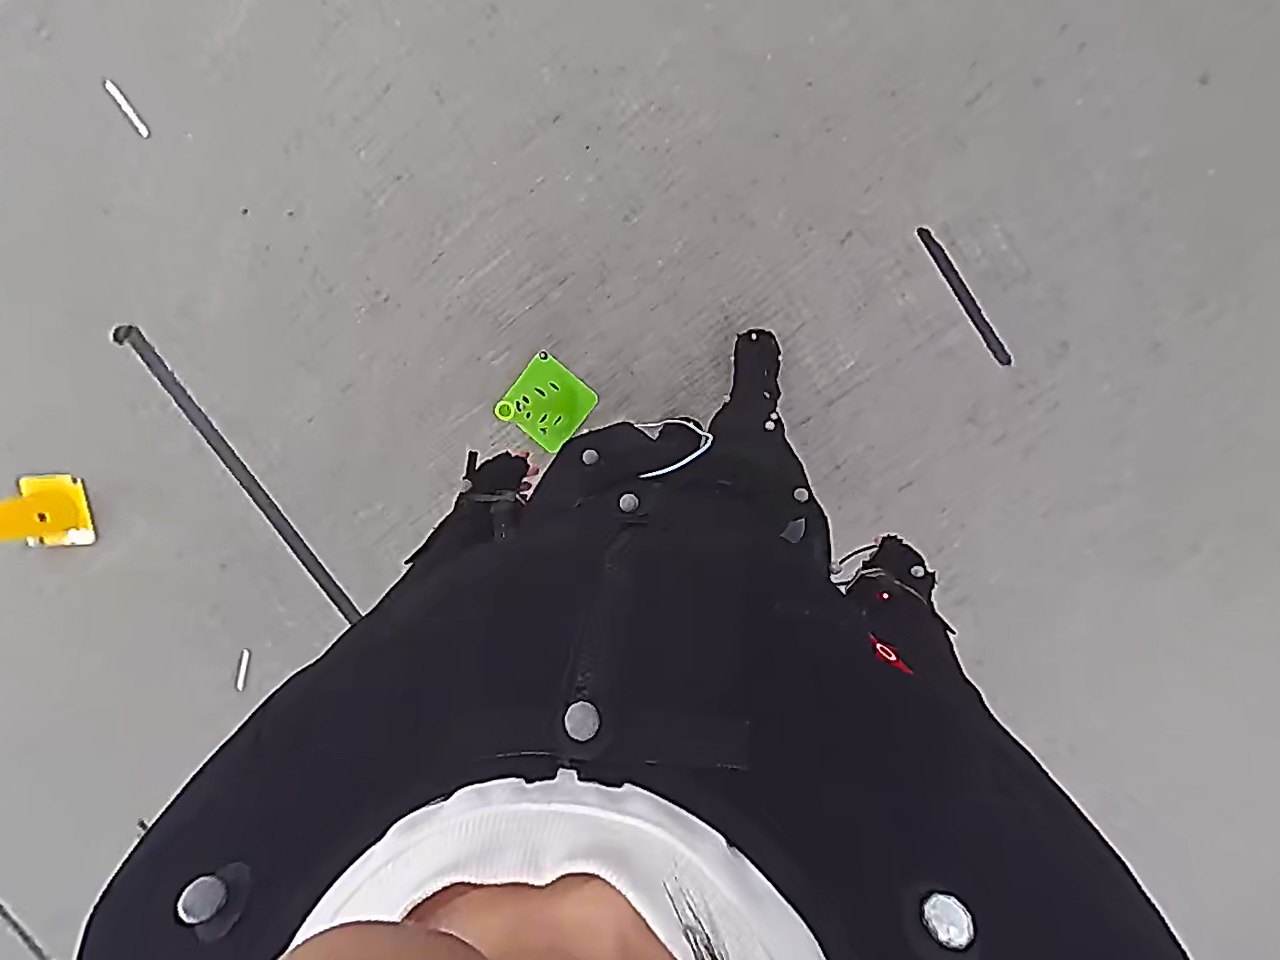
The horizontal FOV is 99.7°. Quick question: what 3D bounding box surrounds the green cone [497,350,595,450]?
[{"bbox_3d":[-0.257,-0.170,1.237,0.202,0.368,0.200,40,102,-4],"label":"green cone"}]
